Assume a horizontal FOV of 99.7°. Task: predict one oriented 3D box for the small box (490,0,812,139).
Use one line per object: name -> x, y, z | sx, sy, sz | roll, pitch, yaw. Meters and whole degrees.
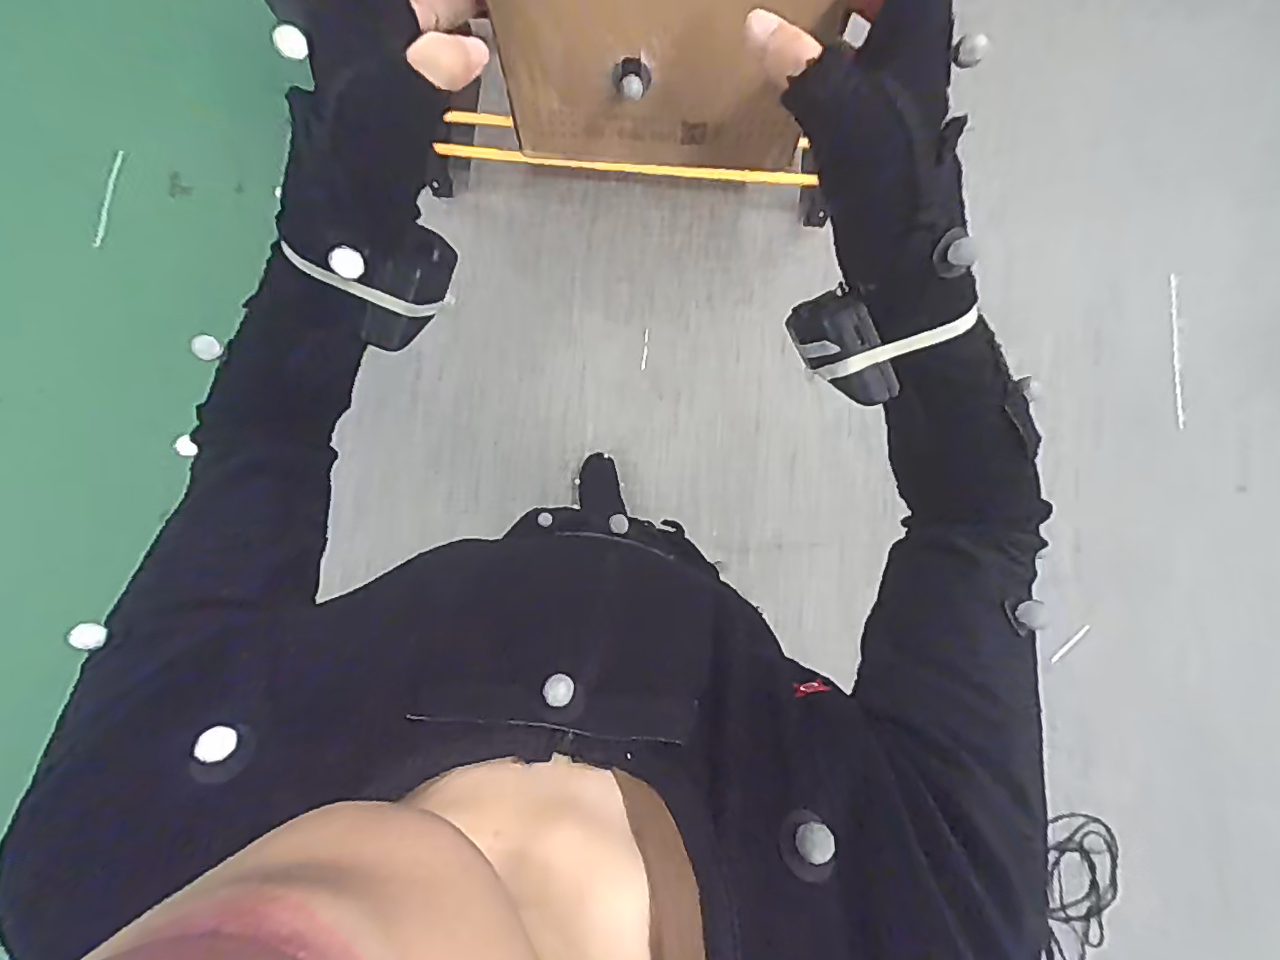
small box -> 0.007, -0.317, 0.274 | 0.168, 0.176, 0.179 | 3, 75, 0
